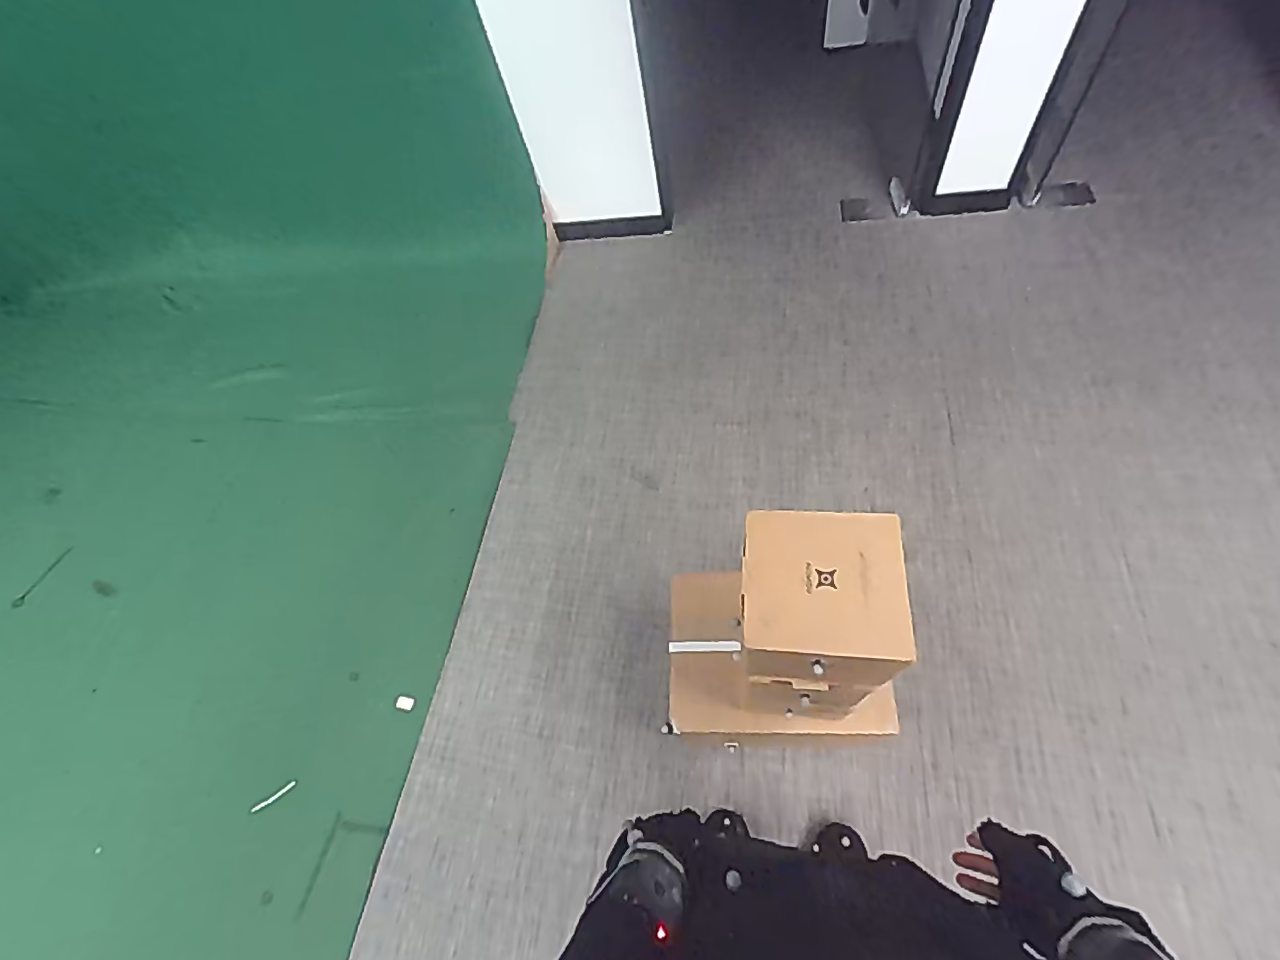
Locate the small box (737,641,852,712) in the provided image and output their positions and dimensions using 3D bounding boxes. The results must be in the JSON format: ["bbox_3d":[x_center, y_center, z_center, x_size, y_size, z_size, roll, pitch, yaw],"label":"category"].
[{"bbox_3d":[0.263,0.305,0.947,0.179,0.176,0.168,1,62,13],"label":"small box"}]

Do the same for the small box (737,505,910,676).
[{"bbox_3d":[0.213,0.141,0.670,0.179,0.176,0.168,1,63,11],"label":"small box"}]

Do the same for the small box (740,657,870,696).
[{"bbox_3d":[0.237,0.220,0.810,0.168,0.176,0.179,0,62,11],"label":"small box"}]
